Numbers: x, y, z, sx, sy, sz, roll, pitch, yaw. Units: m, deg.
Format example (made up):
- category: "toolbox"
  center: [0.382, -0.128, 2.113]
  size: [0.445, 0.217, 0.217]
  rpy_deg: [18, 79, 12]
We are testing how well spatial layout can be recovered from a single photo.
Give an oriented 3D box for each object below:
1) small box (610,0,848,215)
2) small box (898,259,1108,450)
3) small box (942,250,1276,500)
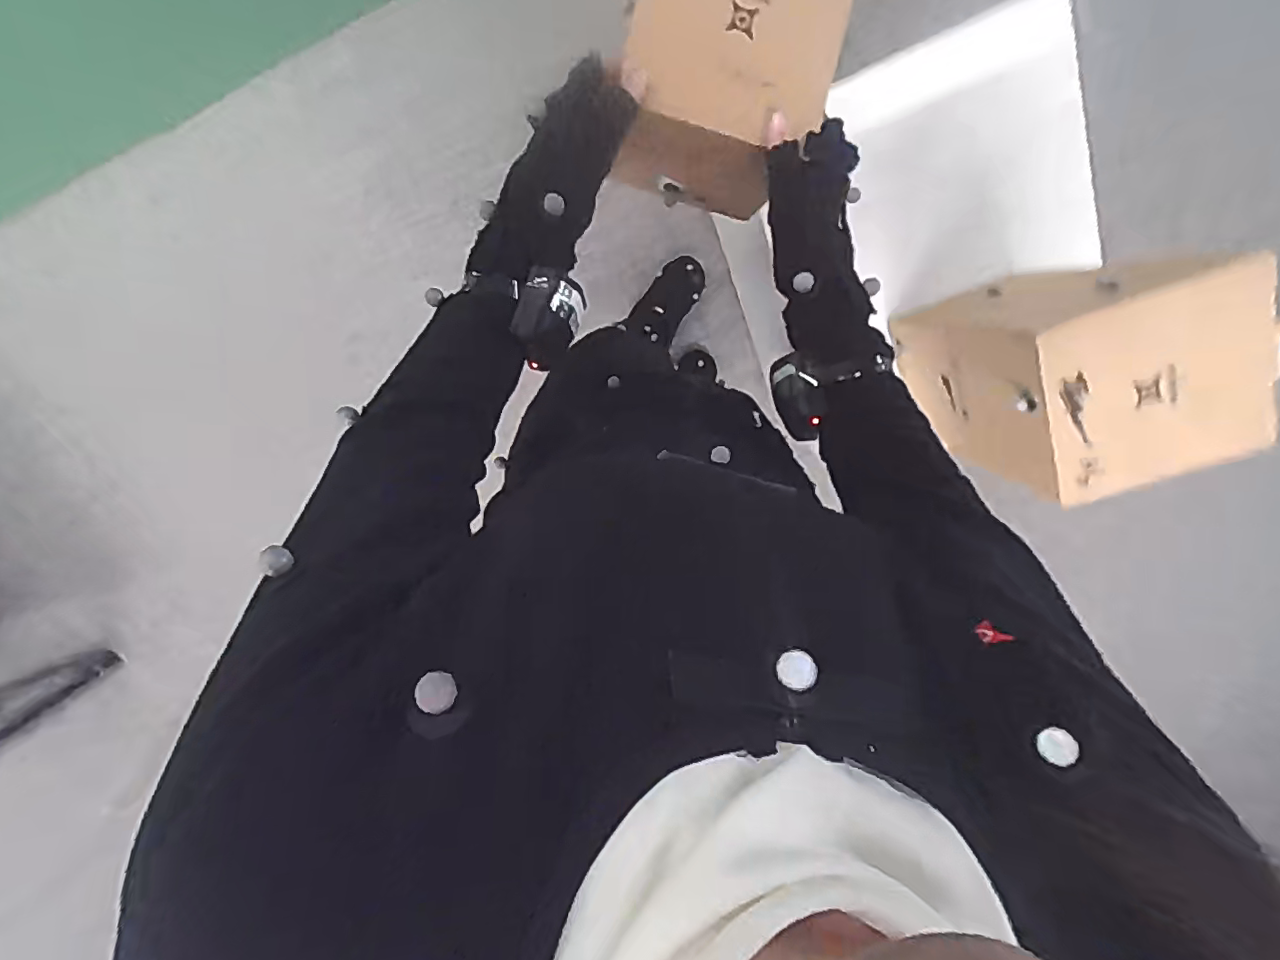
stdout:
- category: "small box"
  center: [0.068, -0.374, 0.495]
  size: [0.168, 0.176, 0.179]
  rpy_deg: [11, 99, -7]
- category: "small box"
  center: [0.447, -0.158, 0.677]
  size: [0.179, 0.176, 0.168]
  rpy_deg: [-20, 107, 10]
- category: "small box"
  center: [0.431, -0.107, 0.522]
  size: [0.179, 0.176, 0.168]
  rpy_deg: [-19, 108, 9]
